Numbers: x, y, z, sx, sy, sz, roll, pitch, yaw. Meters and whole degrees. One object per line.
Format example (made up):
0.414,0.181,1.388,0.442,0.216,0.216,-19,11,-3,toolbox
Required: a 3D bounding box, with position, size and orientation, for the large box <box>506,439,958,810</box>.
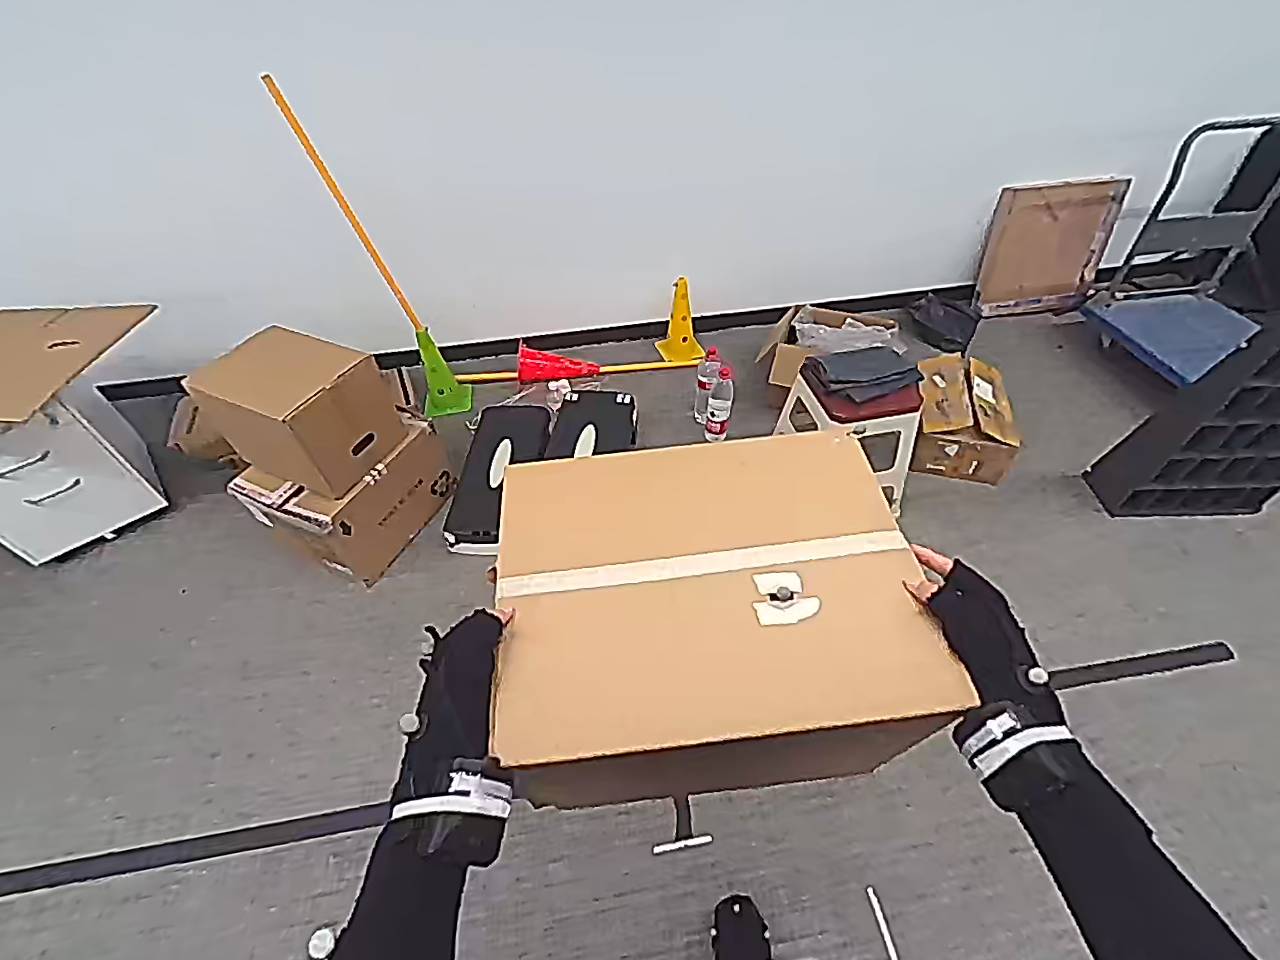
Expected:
0.070,0.185,0.667,0.408,0.320,0.320,-7,54,-2,large box
